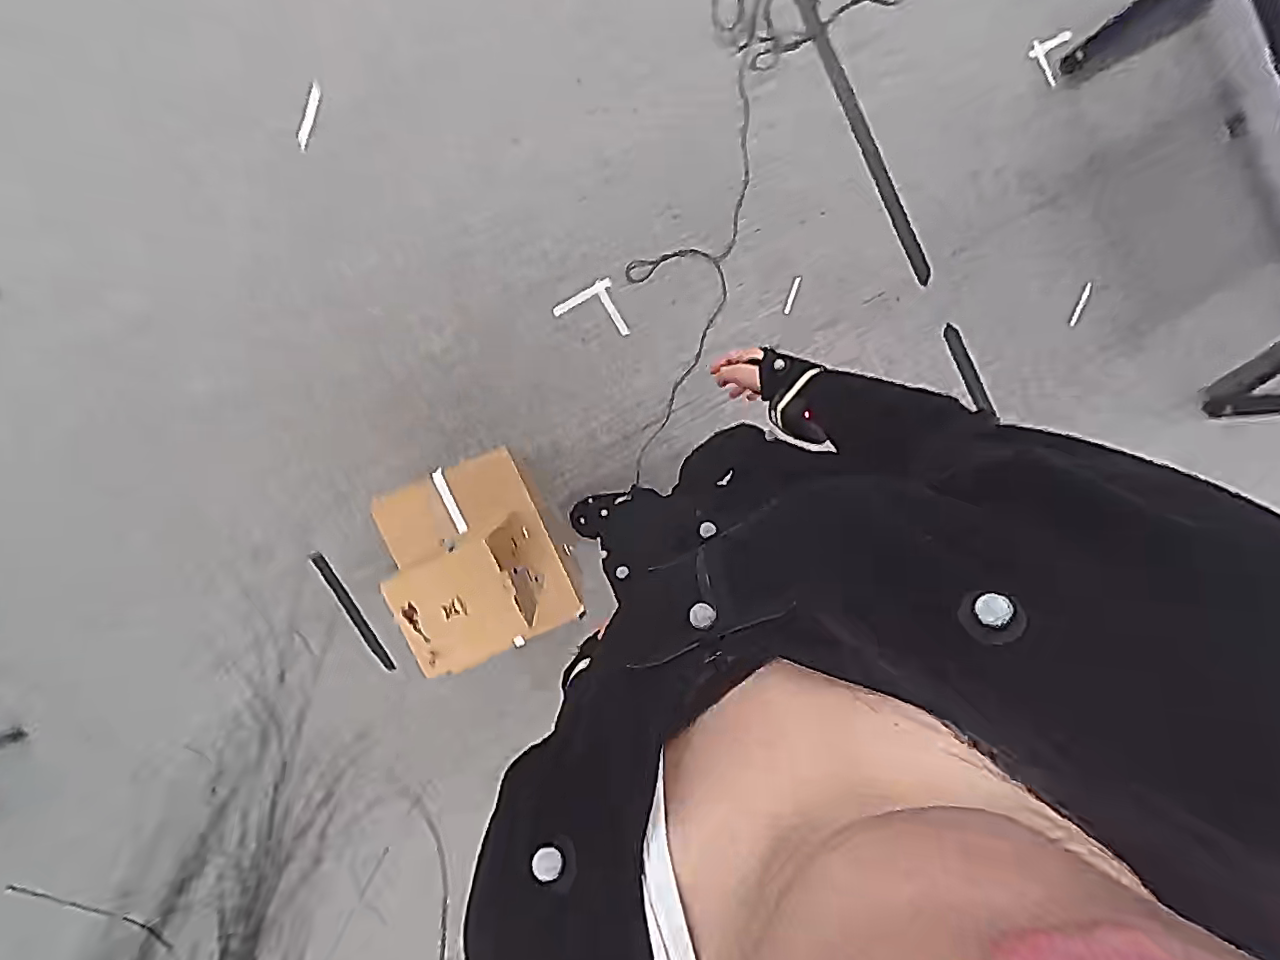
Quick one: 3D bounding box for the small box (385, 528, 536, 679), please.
[{"bbox_3d":[-0.285,0.192,0.902,0.179,0.176,0.168,-25,95,-6],"label":"small box"}]
